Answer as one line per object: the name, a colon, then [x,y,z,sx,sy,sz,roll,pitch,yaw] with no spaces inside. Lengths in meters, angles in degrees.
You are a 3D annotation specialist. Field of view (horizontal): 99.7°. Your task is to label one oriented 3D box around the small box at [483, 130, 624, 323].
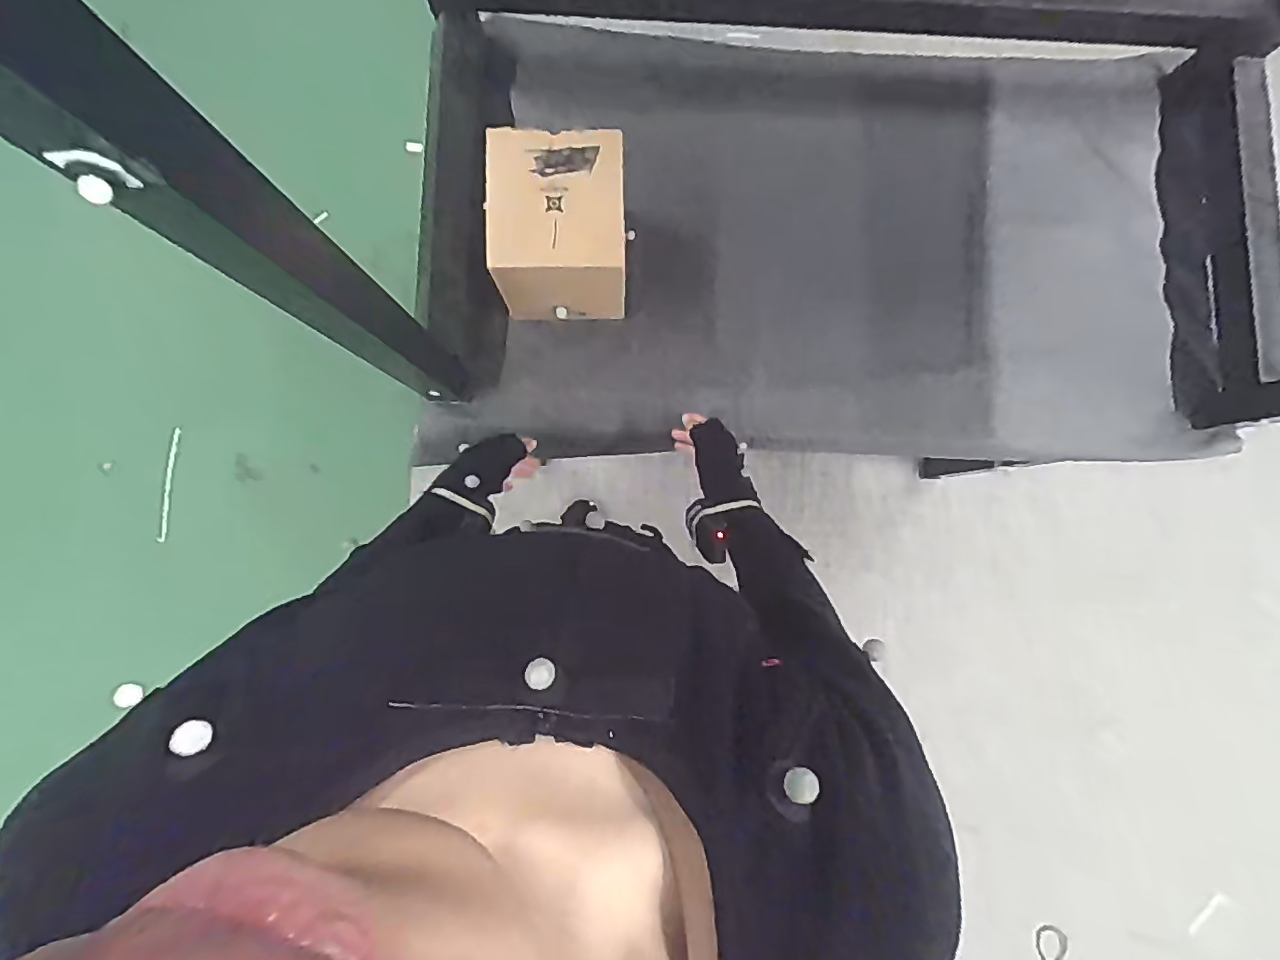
small box: [-0.106,-0.328,0.724,0.168,0.176,0.179,-1,86,-1]
